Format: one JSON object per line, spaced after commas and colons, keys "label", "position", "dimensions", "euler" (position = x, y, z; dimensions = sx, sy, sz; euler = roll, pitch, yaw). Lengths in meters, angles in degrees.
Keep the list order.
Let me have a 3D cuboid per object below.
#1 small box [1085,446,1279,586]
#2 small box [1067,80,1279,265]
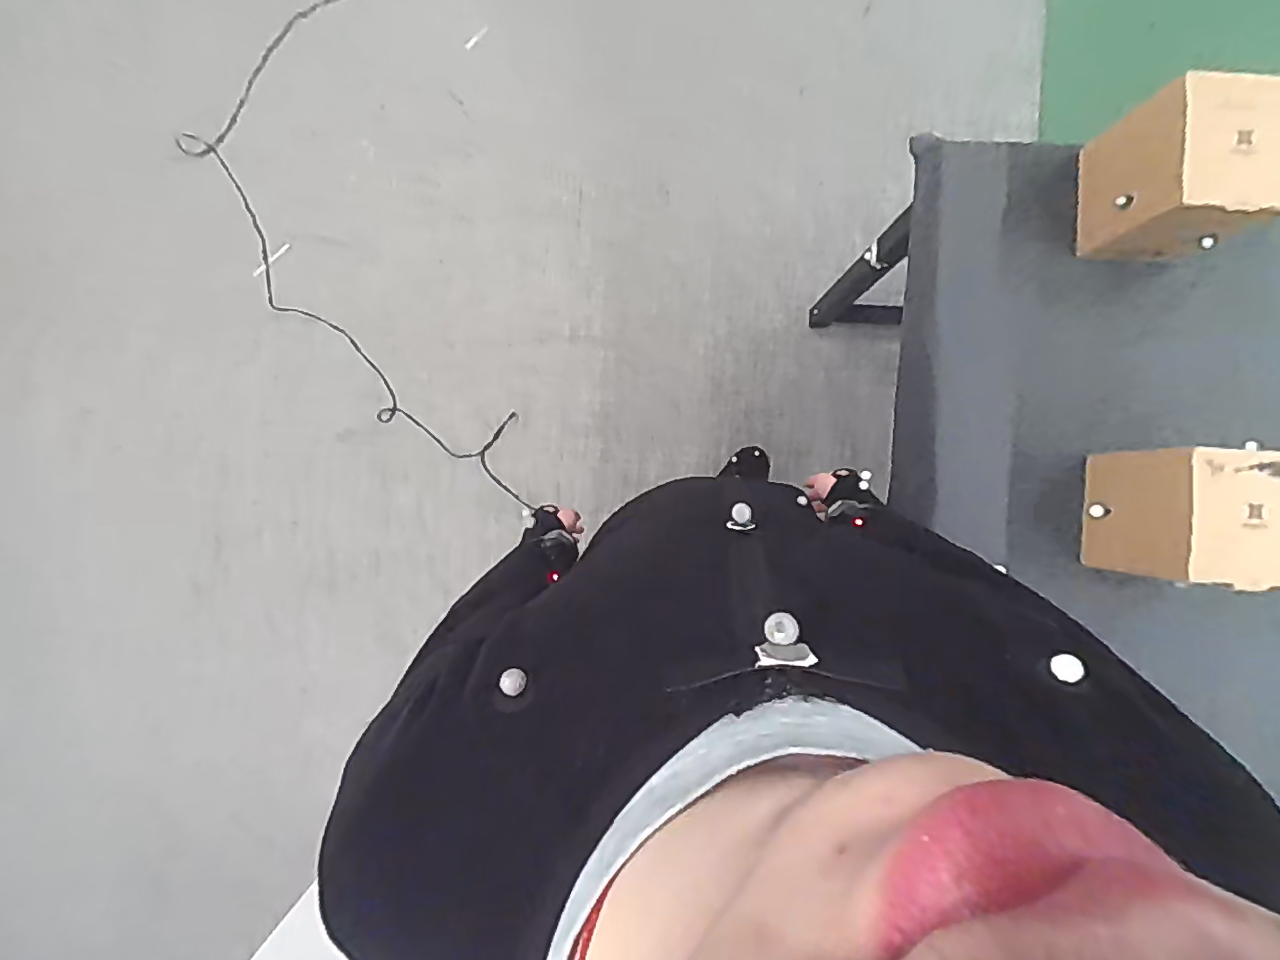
{"label": "small box", "position": [0.783, 0.048, 0.773], "dimensions": [0.168, 0.176, 0.179], "euler": [3, 88, -3]}
{"label": "small box", "position": [0.769, -0.433, 0.789], "dimensions": [0.168, 0.176, 0.179], "euler": [1, 87, -4]}
